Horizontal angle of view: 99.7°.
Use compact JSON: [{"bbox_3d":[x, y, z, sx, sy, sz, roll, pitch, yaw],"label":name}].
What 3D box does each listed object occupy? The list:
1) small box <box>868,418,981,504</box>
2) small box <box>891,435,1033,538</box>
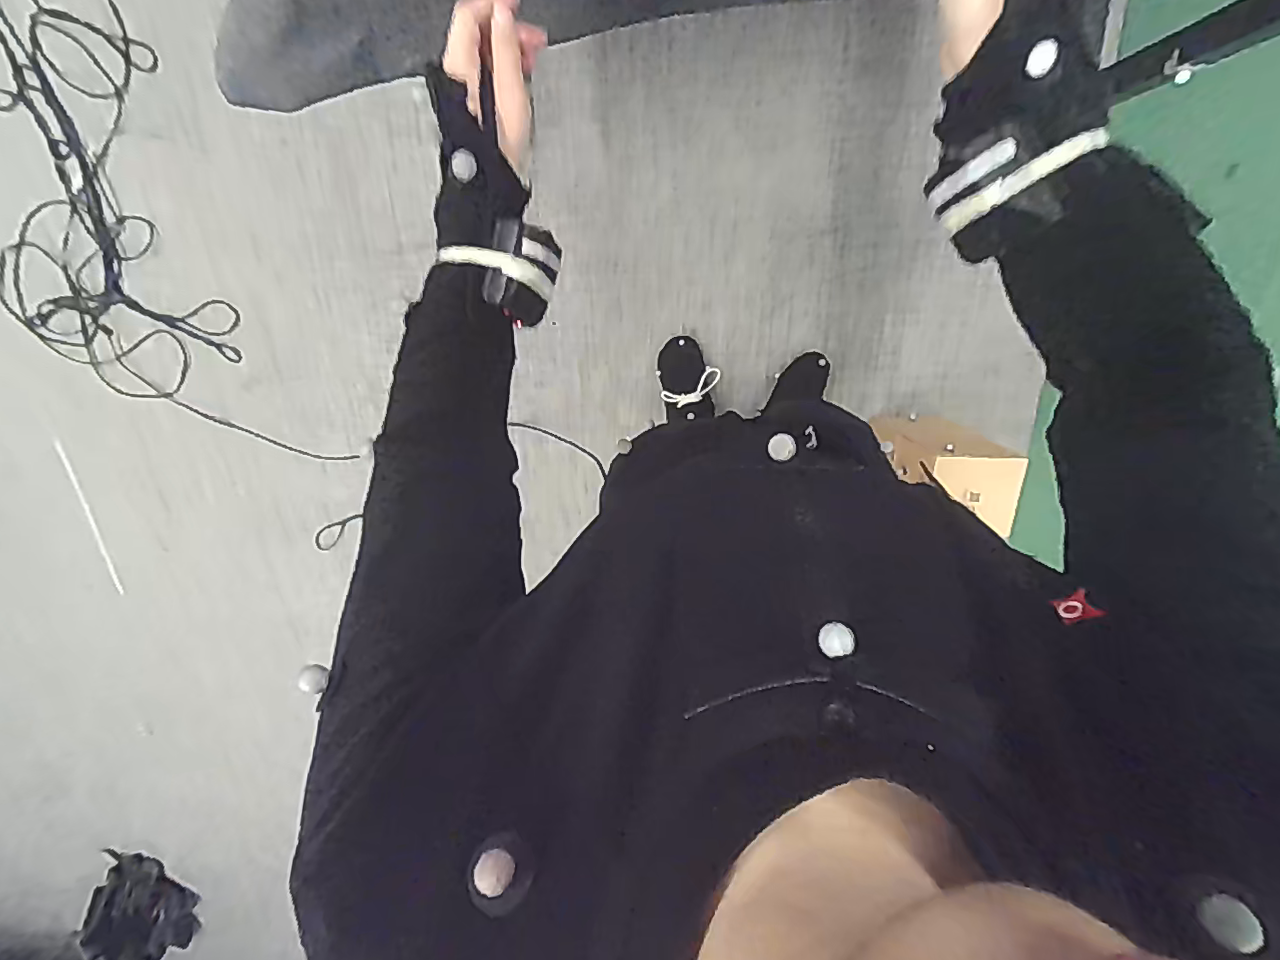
[{"bbox_3d":[0.650,-0.047,1.261,0.179,0.176,0.168,0,109,4],"label":"small box"},{"bbox_3d":[0.645,0.008,1.106,0.179,0.176,0.168,1,109,2],"label":"small box"}]
